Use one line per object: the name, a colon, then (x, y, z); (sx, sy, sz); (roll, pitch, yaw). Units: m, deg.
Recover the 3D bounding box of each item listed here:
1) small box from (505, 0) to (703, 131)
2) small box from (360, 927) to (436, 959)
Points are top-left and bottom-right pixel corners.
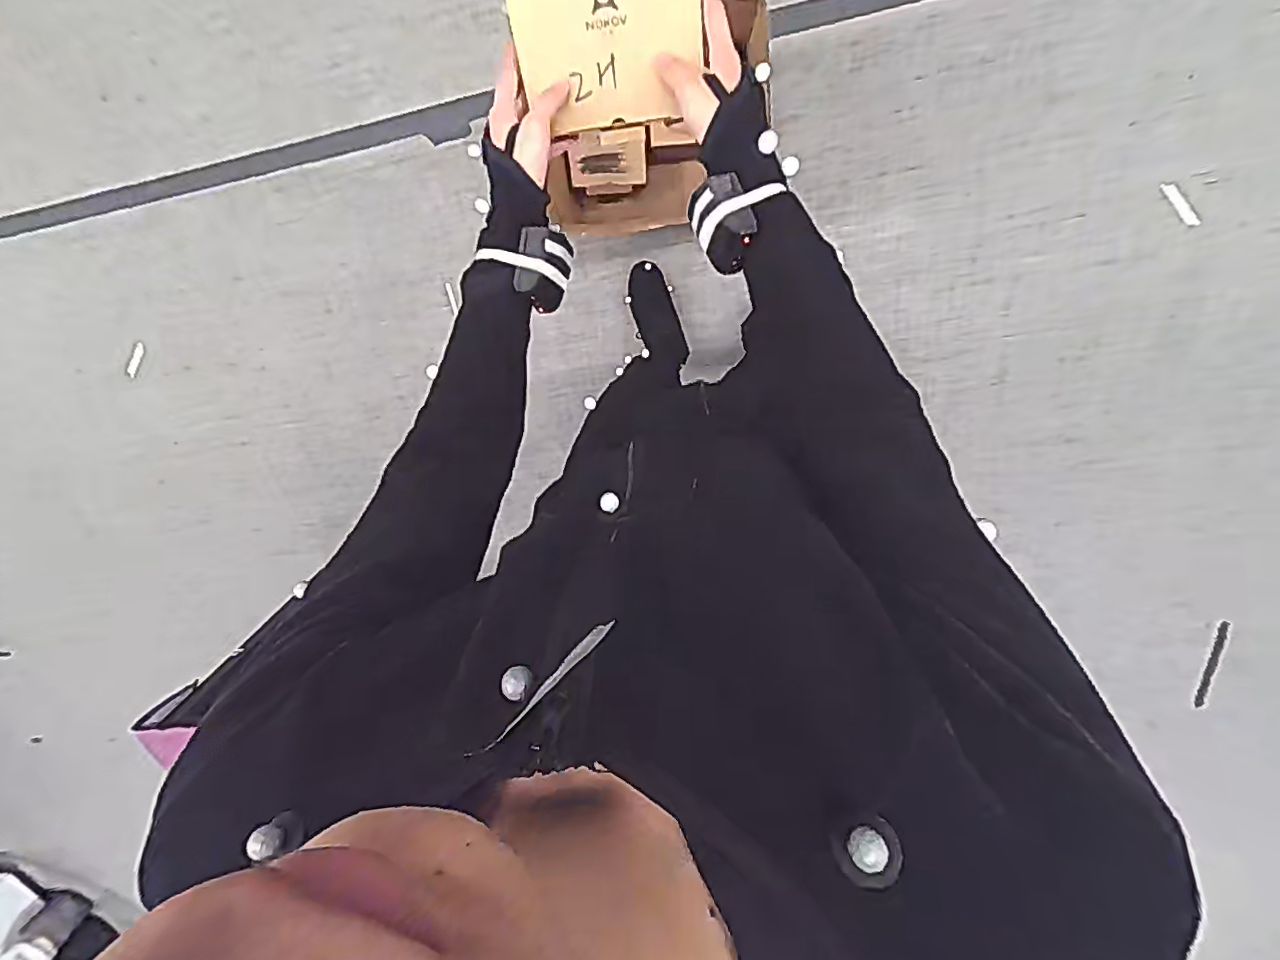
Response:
small box: (-0.028, -0.454, 0.509); (0.168, 0.176, 0.179); (-3, 132, 8)
small box: (-0.744, 1.487, 1.632); (0.179, 0.176, 0.168); (-14, 114, 14)
